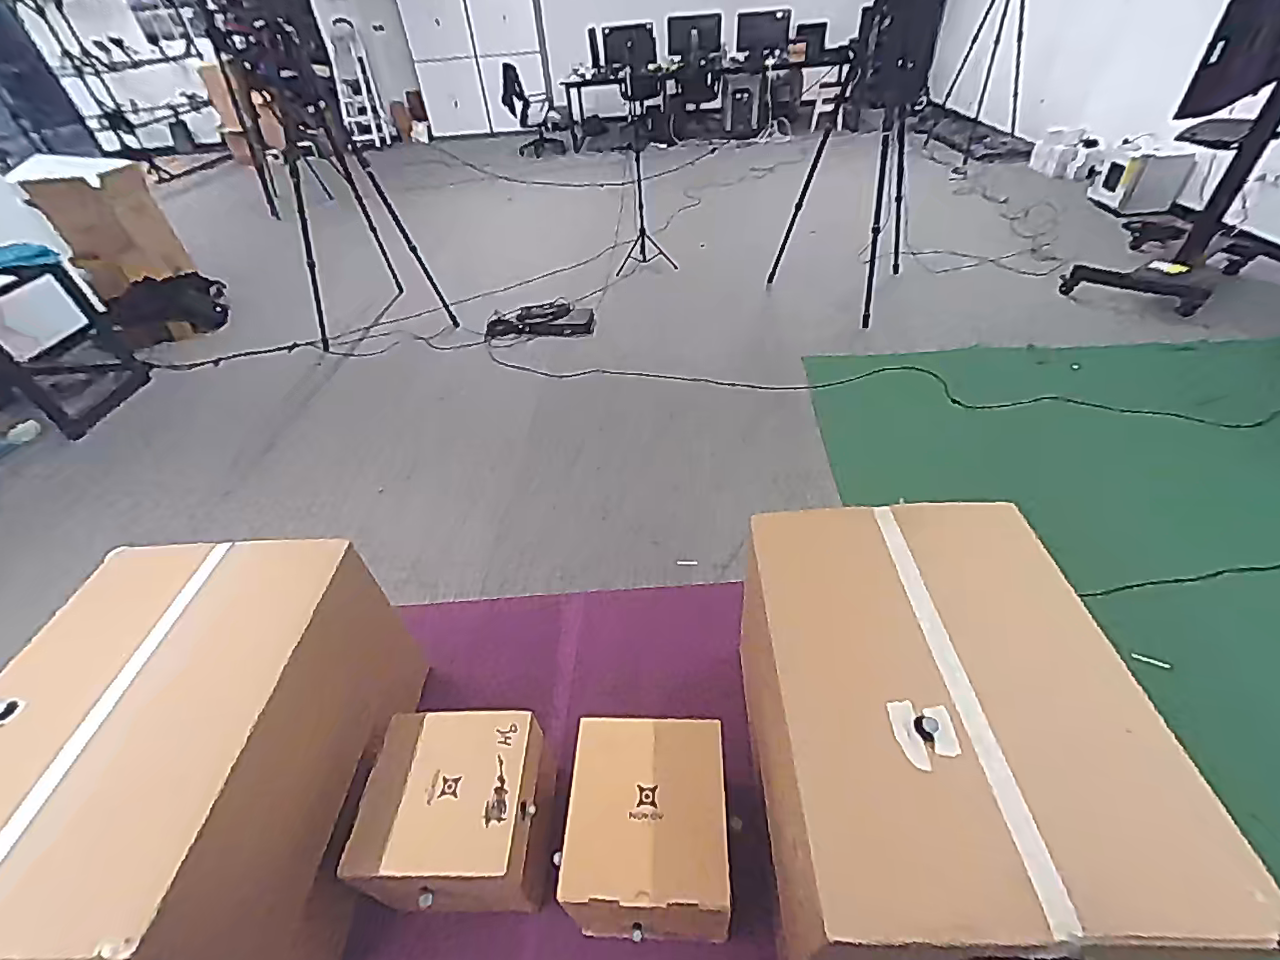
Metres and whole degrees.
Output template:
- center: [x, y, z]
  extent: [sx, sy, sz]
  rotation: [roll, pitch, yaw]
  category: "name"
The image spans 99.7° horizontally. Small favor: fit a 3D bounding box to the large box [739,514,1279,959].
- center: [0.300, 0.287, 0.617]
  extent: [0.320, 0.320, 0.408]
  rotation: [-2, 43, 4]
  category: "large box"
